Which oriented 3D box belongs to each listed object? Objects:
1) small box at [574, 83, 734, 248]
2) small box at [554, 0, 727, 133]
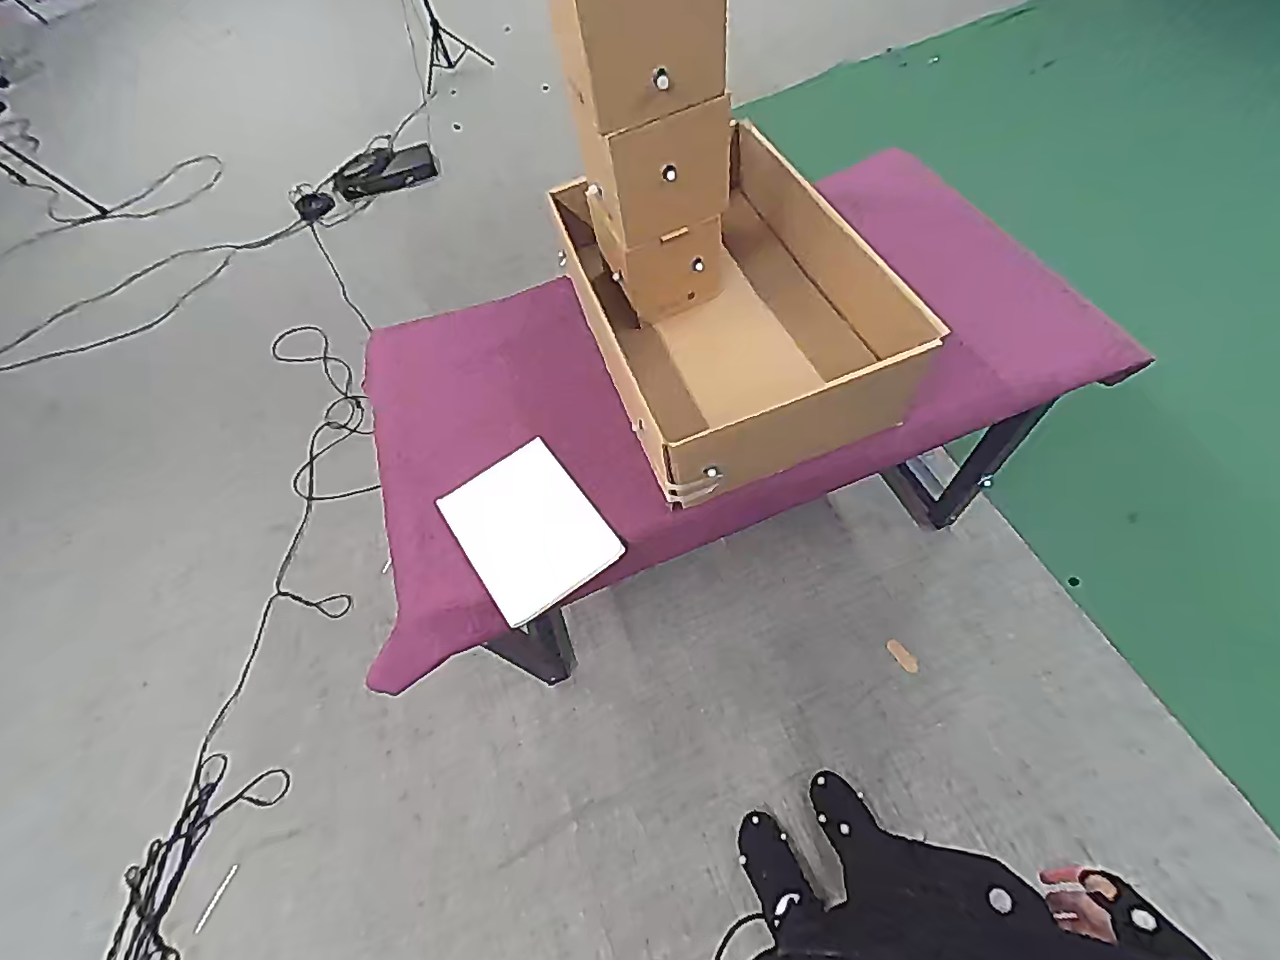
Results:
[{"bbox_3d":[0.022,-0.481,0.794,0.179,0.176,0.168,-24,60,-4],"label":"small box"},{"bbox_3d":[-0.003,-0.563,0.654,0.179,0.176,0.168,-21,60,-5],"label":"small box"}]
